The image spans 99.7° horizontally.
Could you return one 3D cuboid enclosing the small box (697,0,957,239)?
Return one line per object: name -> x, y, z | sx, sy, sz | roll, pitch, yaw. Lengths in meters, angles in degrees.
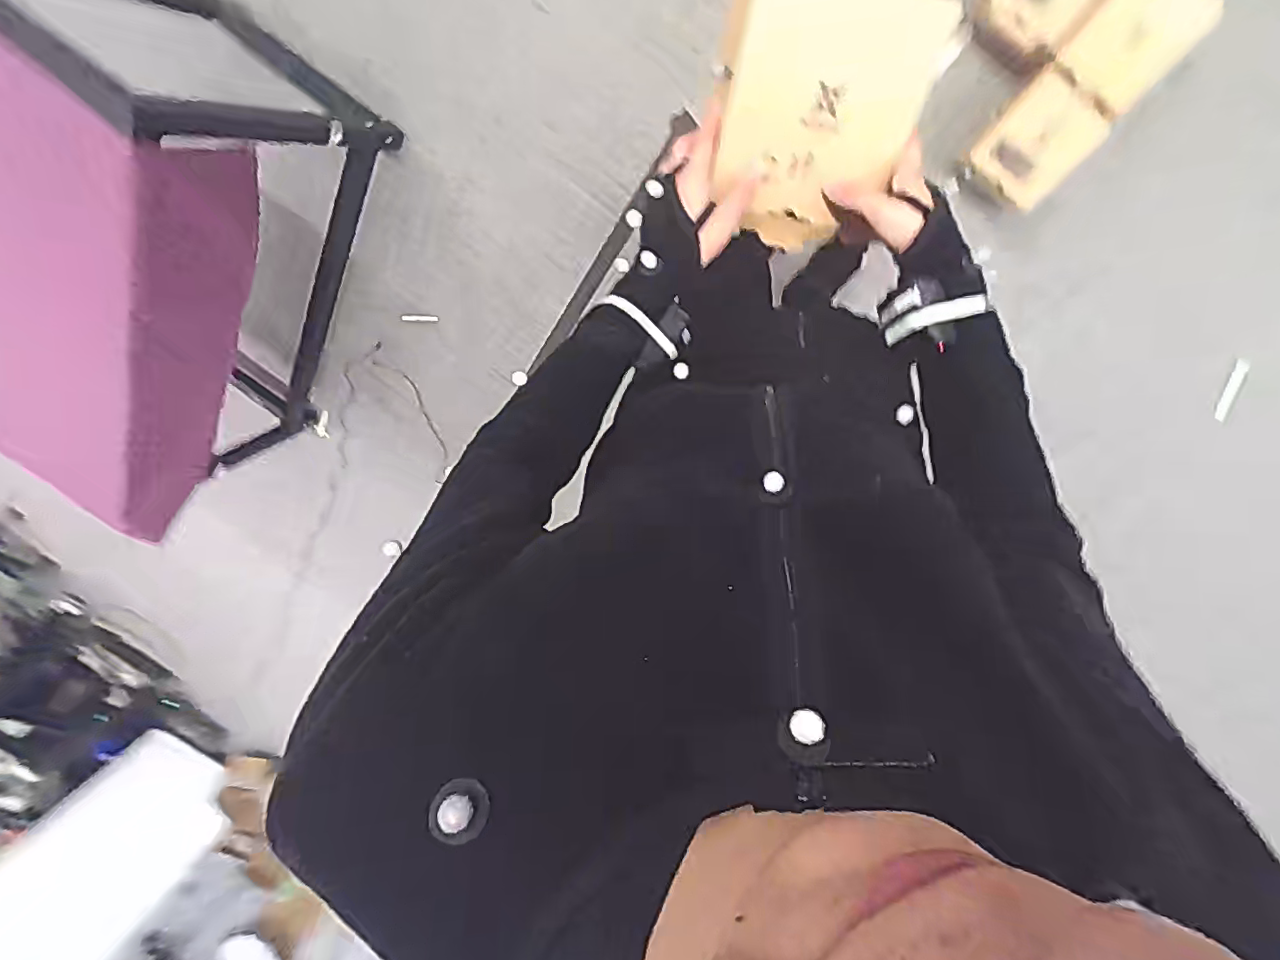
small box -> 0.157, -0.364, 0.532 | 0.168, 0.176, 0.179 | 8, 128, -7
